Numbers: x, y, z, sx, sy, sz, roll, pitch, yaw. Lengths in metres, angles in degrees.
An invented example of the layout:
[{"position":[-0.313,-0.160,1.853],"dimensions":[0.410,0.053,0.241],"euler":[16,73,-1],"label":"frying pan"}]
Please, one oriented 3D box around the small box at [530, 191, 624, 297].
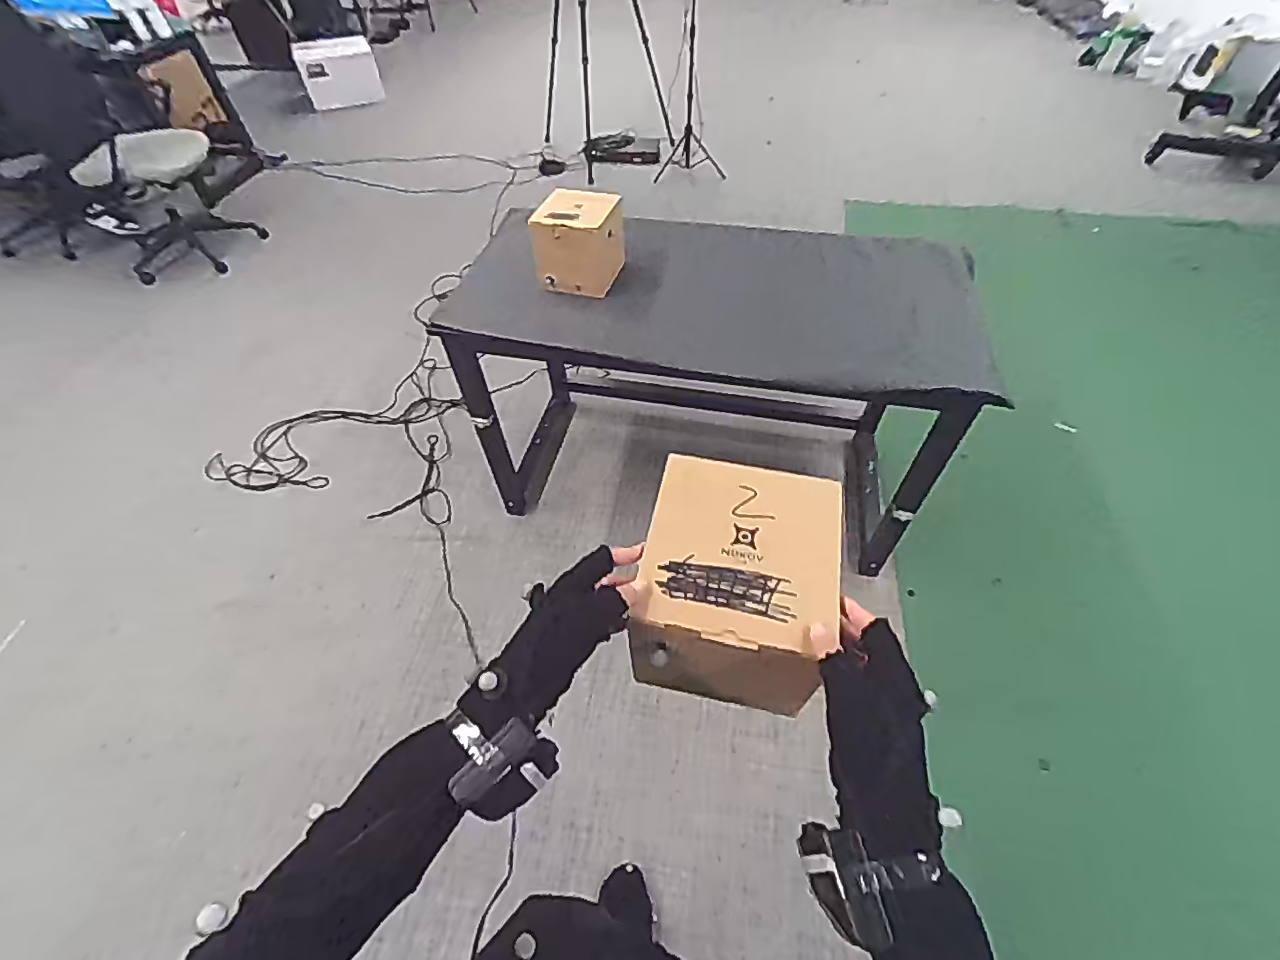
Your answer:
[{"position":[-0.140,-0.559,1.287],"dimensions":[0.168,0.176,0.179],"euler":[12,51,11],"label":"small box"}]
